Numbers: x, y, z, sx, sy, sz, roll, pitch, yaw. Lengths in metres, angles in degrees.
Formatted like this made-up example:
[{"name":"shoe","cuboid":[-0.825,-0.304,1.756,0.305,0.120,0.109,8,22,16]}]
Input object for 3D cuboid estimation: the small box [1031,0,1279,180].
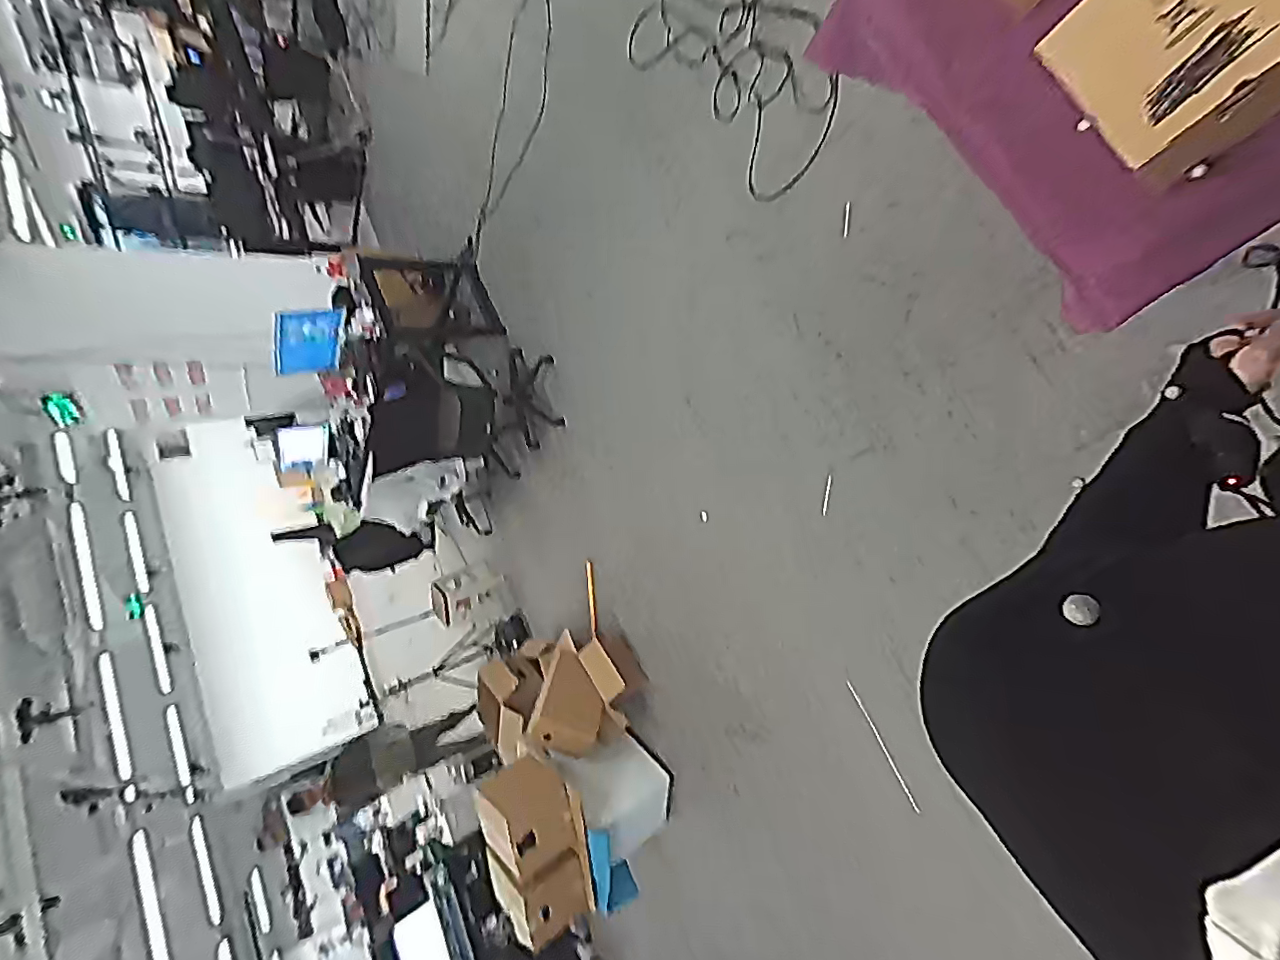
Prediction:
[{"name":"small box","cuboid":[0.553,-0.434,0.546,0.168,0.176,0.179,-40,69,49]}]
